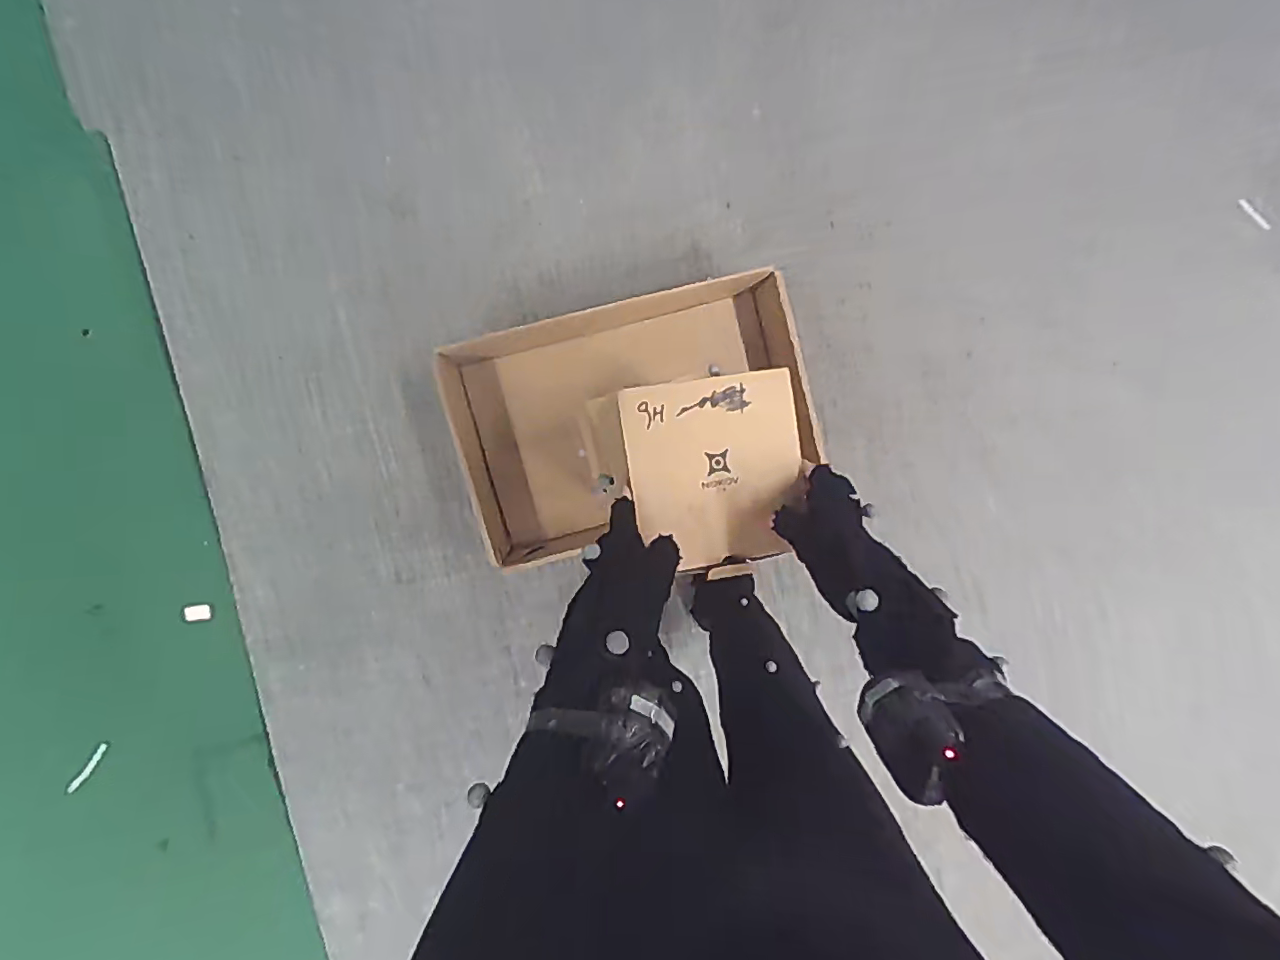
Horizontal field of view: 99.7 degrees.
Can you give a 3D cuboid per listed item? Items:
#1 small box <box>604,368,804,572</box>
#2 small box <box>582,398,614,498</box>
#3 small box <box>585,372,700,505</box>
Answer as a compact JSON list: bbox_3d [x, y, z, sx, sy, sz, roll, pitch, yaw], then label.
[{"bbox_3d":[0.058,-0.016,0.588,0.168,0.176,0.179,-10,95,-8],"label":"small box"},{"bbox_3d":[-0.001,-0.075,0.996,0.179,0.176,0.168,-14,95,-2],"label":"small box"},{"bbox_3d":[0.022,-0.051,0.821,0.168,0.176,0.179,-19,96,-3],"label":"small box"}]
